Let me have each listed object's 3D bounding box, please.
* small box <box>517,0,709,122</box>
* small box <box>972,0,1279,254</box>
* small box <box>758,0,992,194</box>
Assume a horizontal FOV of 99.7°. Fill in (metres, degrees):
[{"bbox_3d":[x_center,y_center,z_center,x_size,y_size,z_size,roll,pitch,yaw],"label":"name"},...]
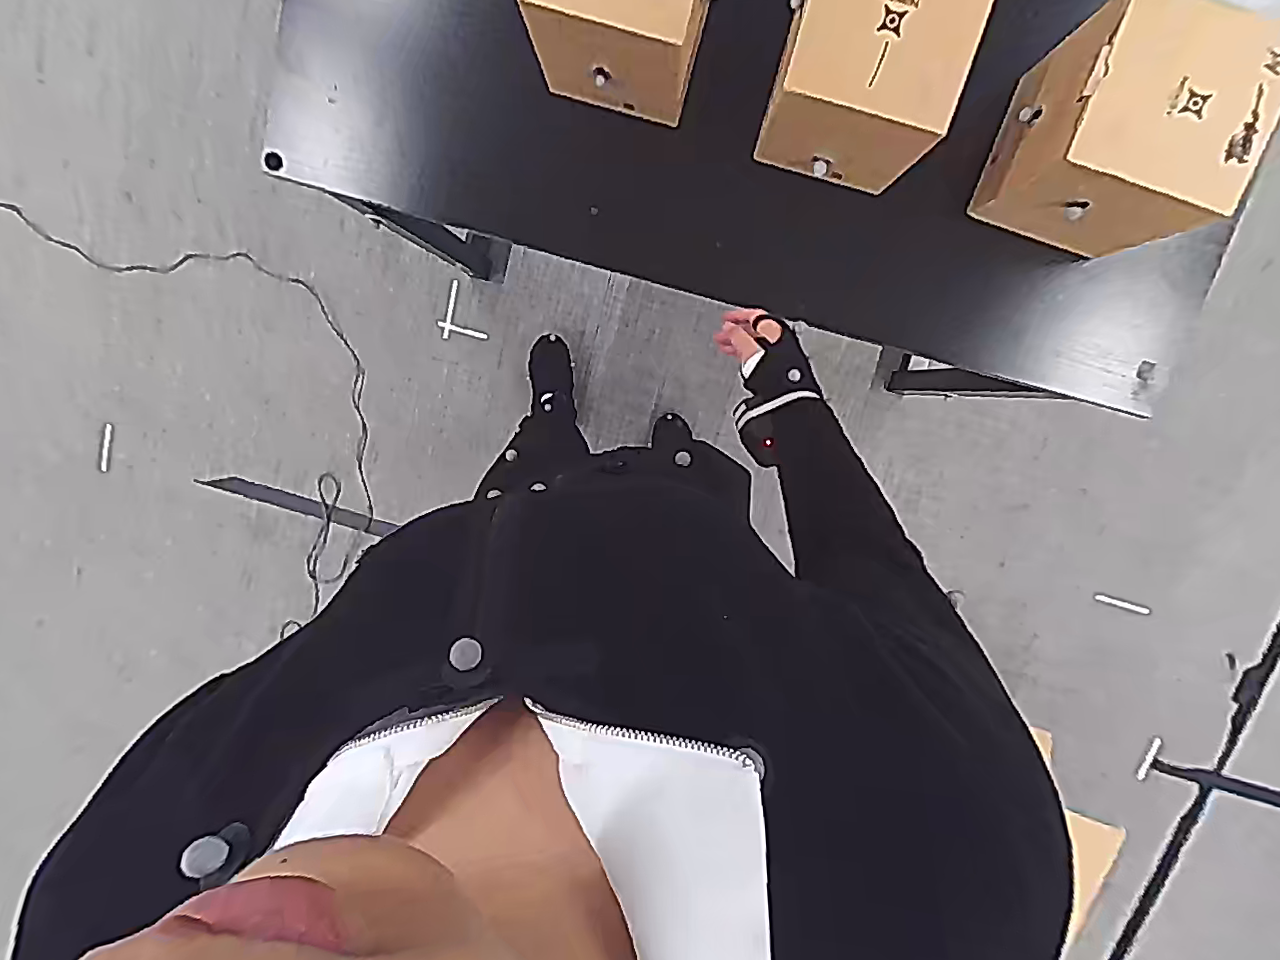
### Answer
[{"bbox_3d":[-0.014,-0.526,0.576,0.168,0.176,0.179,16,100,-1],"label":"small box"},{"bbox_3d":[0.508,-0.366,0.586,0.179,0.176,0.168,19,100,0],"label":"small box"},{"bbox_3d":[0.238,-0.445,0.582,0.168,0.176,0.179,16,100,-1],"label":"small box"}]
